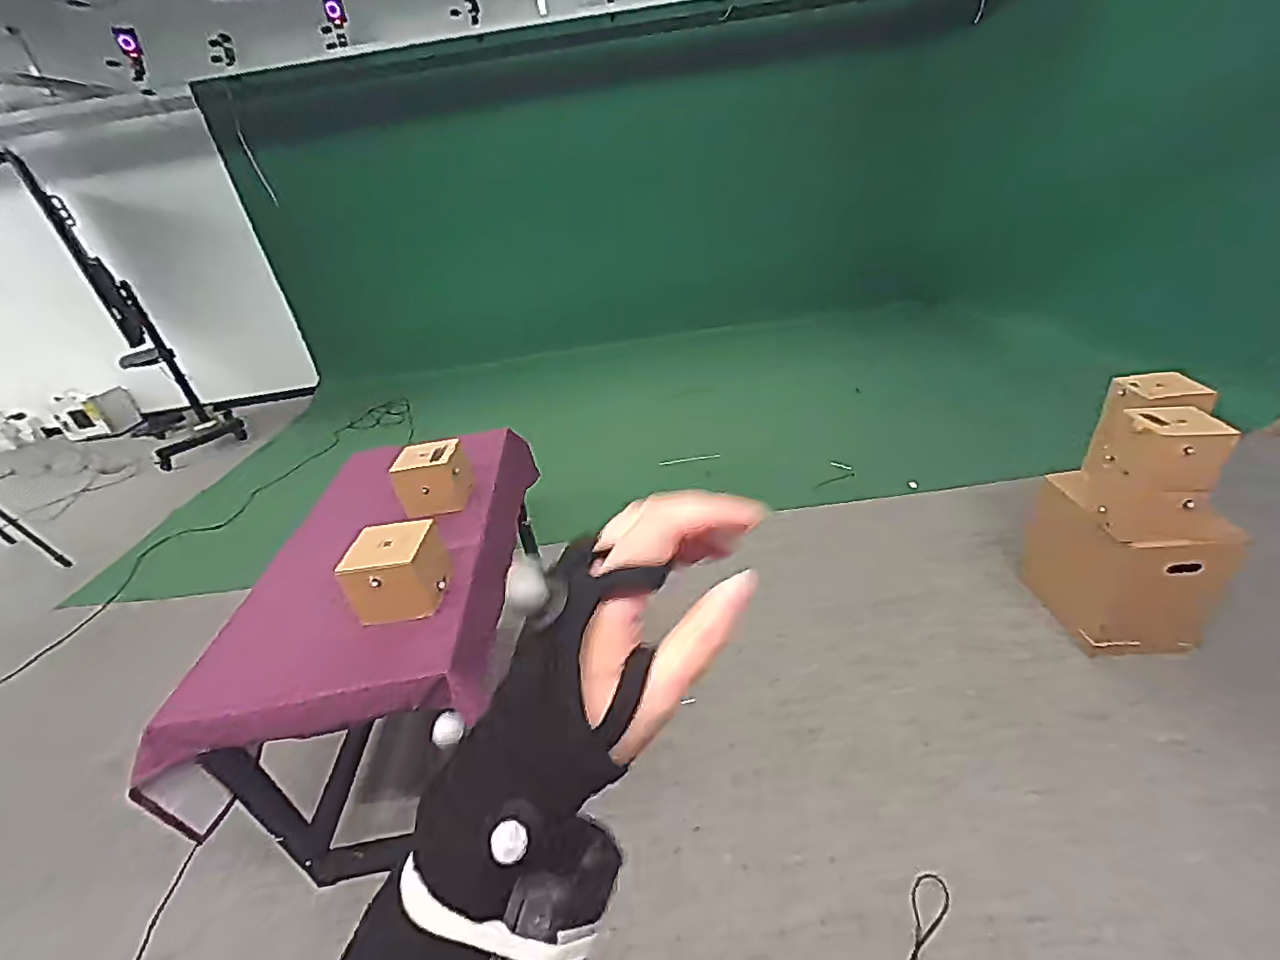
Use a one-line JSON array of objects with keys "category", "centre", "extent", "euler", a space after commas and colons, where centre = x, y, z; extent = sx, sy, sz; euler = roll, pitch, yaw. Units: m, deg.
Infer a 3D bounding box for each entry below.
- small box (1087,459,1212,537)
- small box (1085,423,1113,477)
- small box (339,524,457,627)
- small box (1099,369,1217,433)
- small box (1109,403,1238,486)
[{"category": "small box", "centre": [1.430, 0.048, 1.534], "extent": [0.179, 0.176, 0.168], "euler": [-4, 30, 7]}, {"category": "small box", "centre": [1.569, -0.081, 1.712], "extent": [0.168, 0.176, 0.179], "euler": [-6, 31, 5]}, {"category": "small box", "centre": [-0.561, 0.228, 1.279], "extent": [0.179, 0.176, 0.168], "euler": [-8, 31, 3]}, {"category": "small box", "centre": [1.542, -0.218, 1.625], "extent": [0.179, 0.176, 0.168], "euler": [-4, 30, 8]}, {"category": "small box", "centre": [1.412, -0.094, 1.452], "extent": [0.179, 0.176, 0.168], "euler": [-1, 31, 10]}]
